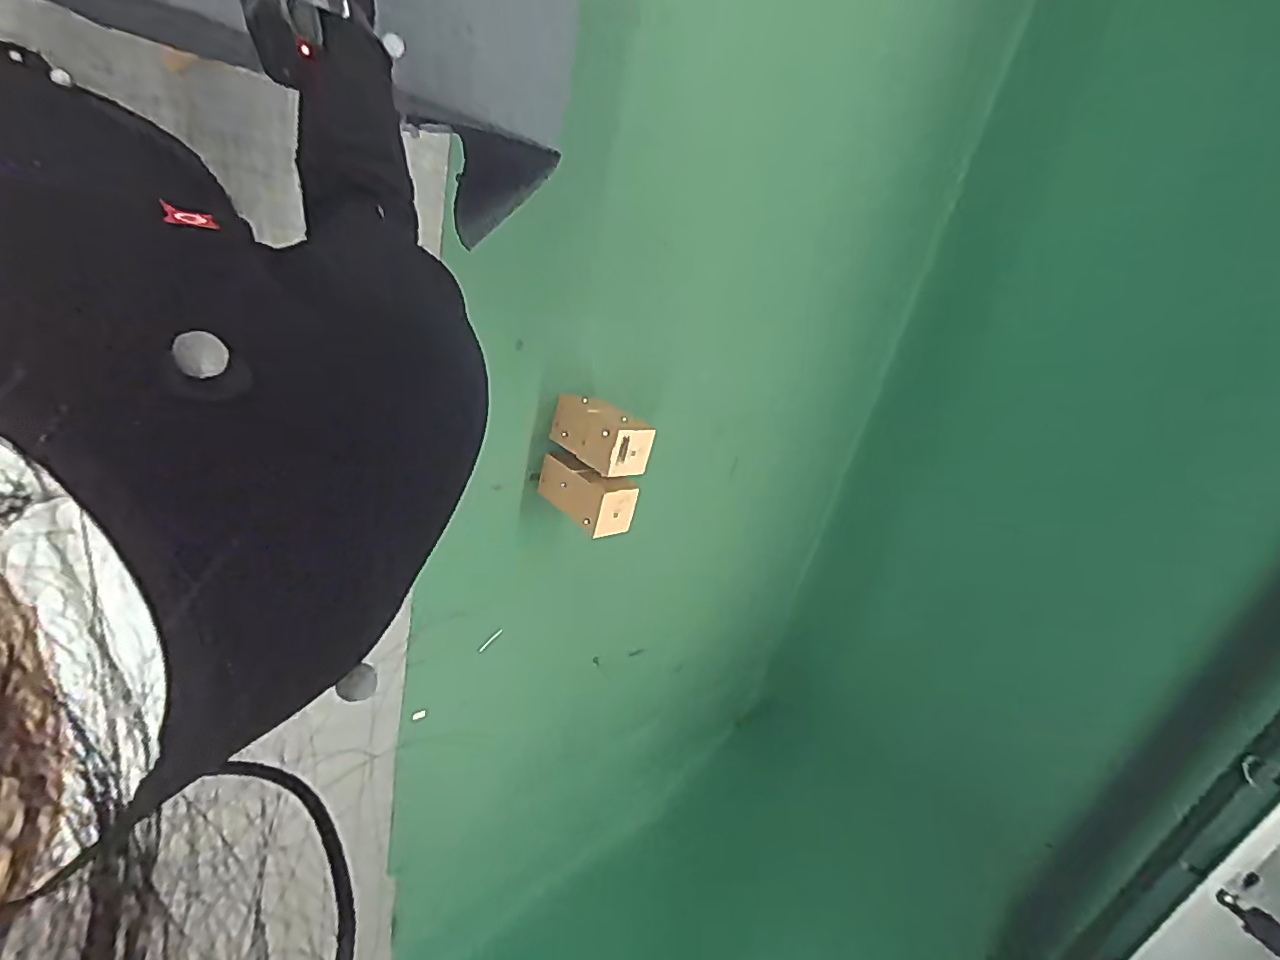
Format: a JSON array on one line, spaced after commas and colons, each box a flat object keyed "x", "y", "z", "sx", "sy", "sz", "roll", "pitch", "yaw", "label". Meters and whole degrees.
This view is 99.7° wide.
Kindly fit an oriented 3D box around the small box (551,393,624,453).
[{"x": -0.191, "y": -0.204, "z": 1.926, "sx": 0.179, "sy": 0.176, "sz": 0.168, "roll": -3, "pitch": 117, "yaw": -46, "label": "small box"}]
